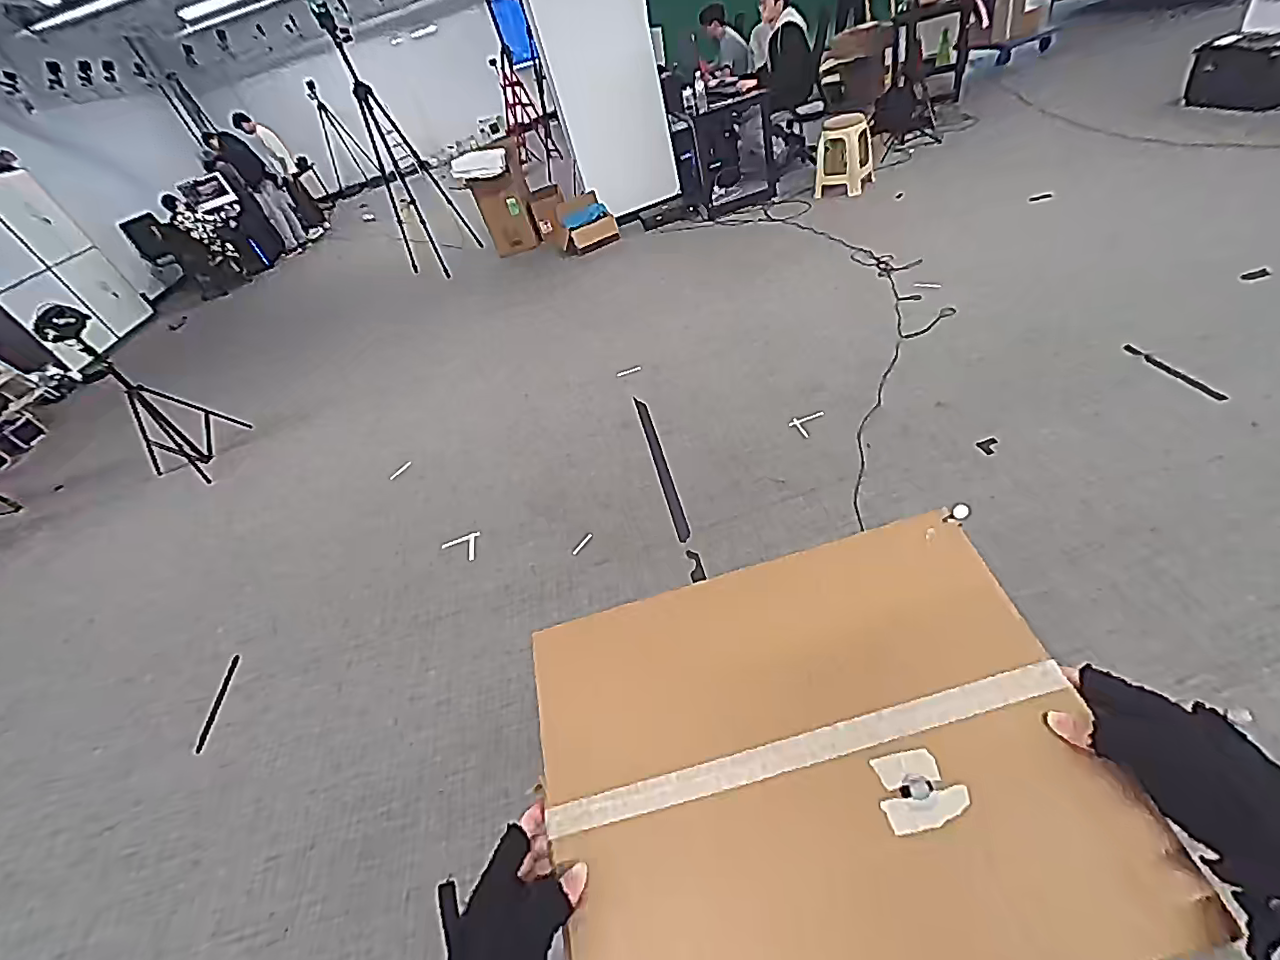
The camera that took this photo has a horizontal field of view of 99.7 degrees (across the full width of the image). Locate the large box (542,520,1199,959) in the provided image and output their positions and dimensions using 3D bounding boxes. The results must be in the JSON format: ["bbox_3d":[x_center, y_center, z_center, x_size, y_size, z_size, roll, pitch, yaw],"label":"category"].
[{"bbox_3d":[0.156,0.299,0.546,0.408,0.320,0.320,-18,54,2],"label":"large box"}]
